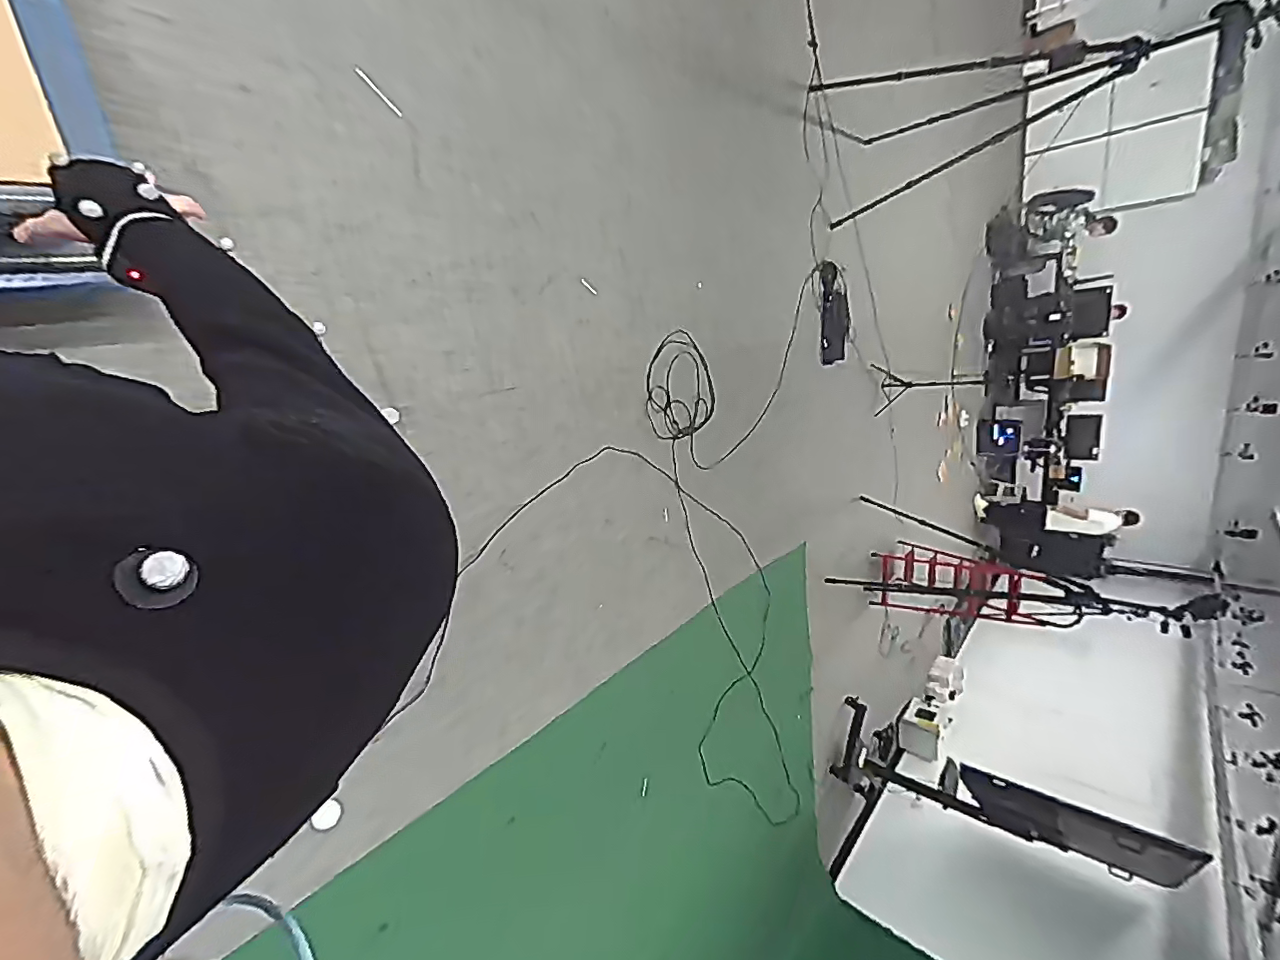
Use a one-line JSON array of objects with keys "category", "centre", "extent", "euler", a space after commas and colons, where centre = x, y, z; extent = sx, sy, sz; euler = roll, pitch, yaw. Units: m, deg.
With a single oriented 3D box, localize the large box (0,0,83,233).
[{"category": "large box", "centre": [-1.064, -0.587, 0.747], "extent": [0.320, 0.320, 0.408], "euler": [-25, 111, -43]}]
